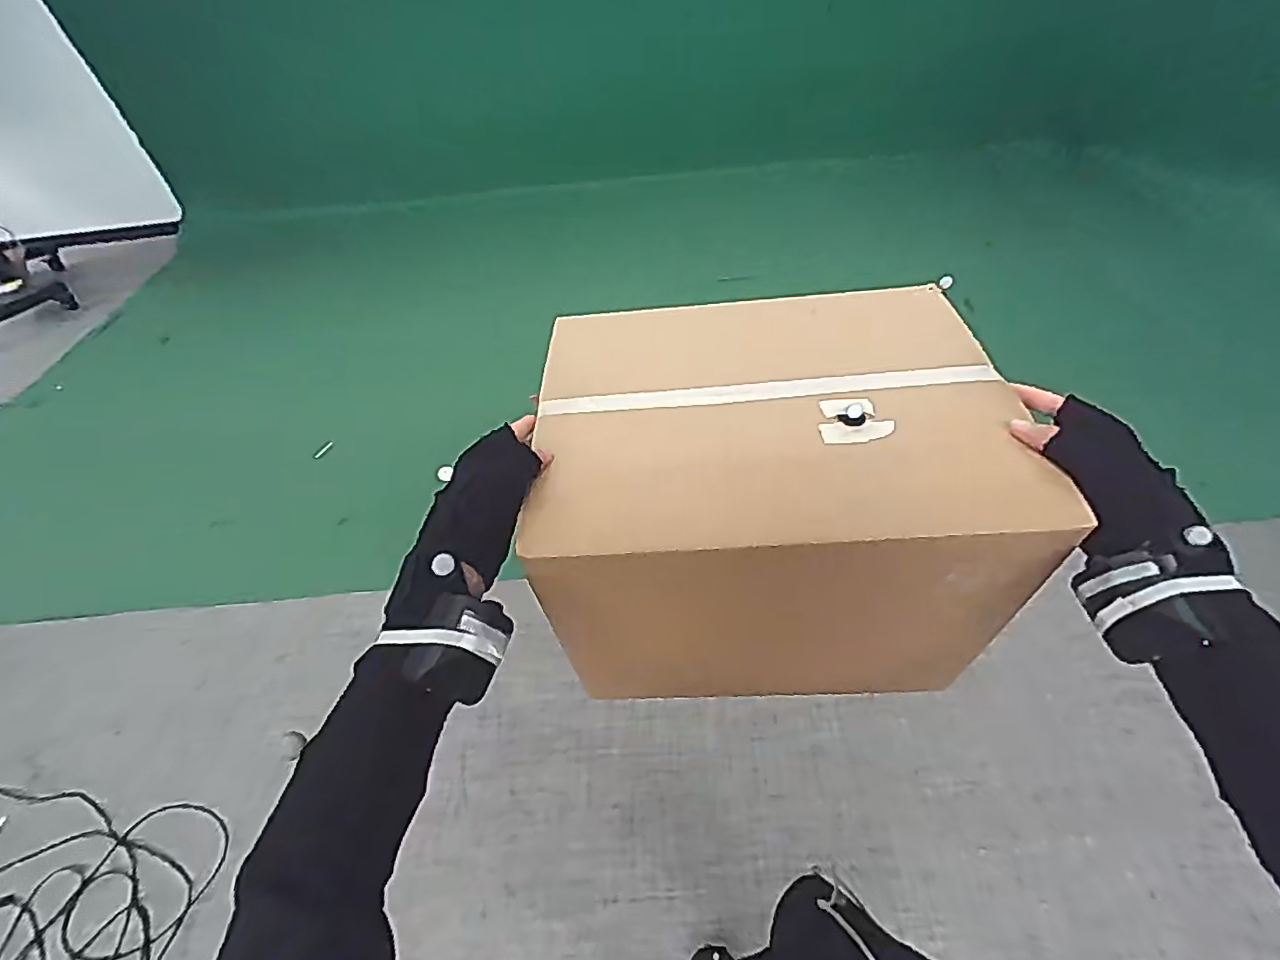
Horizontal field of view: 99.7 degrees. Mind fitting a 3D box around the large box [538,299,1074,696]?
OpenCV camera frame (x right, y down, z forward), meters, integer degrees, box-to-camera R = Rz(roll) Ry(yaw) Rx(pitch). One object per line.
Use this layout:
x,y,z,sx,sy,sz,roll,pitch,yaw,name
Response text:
0.127,0.029,0.607,0.408,0.320,0.320,-3,49,4,large box
